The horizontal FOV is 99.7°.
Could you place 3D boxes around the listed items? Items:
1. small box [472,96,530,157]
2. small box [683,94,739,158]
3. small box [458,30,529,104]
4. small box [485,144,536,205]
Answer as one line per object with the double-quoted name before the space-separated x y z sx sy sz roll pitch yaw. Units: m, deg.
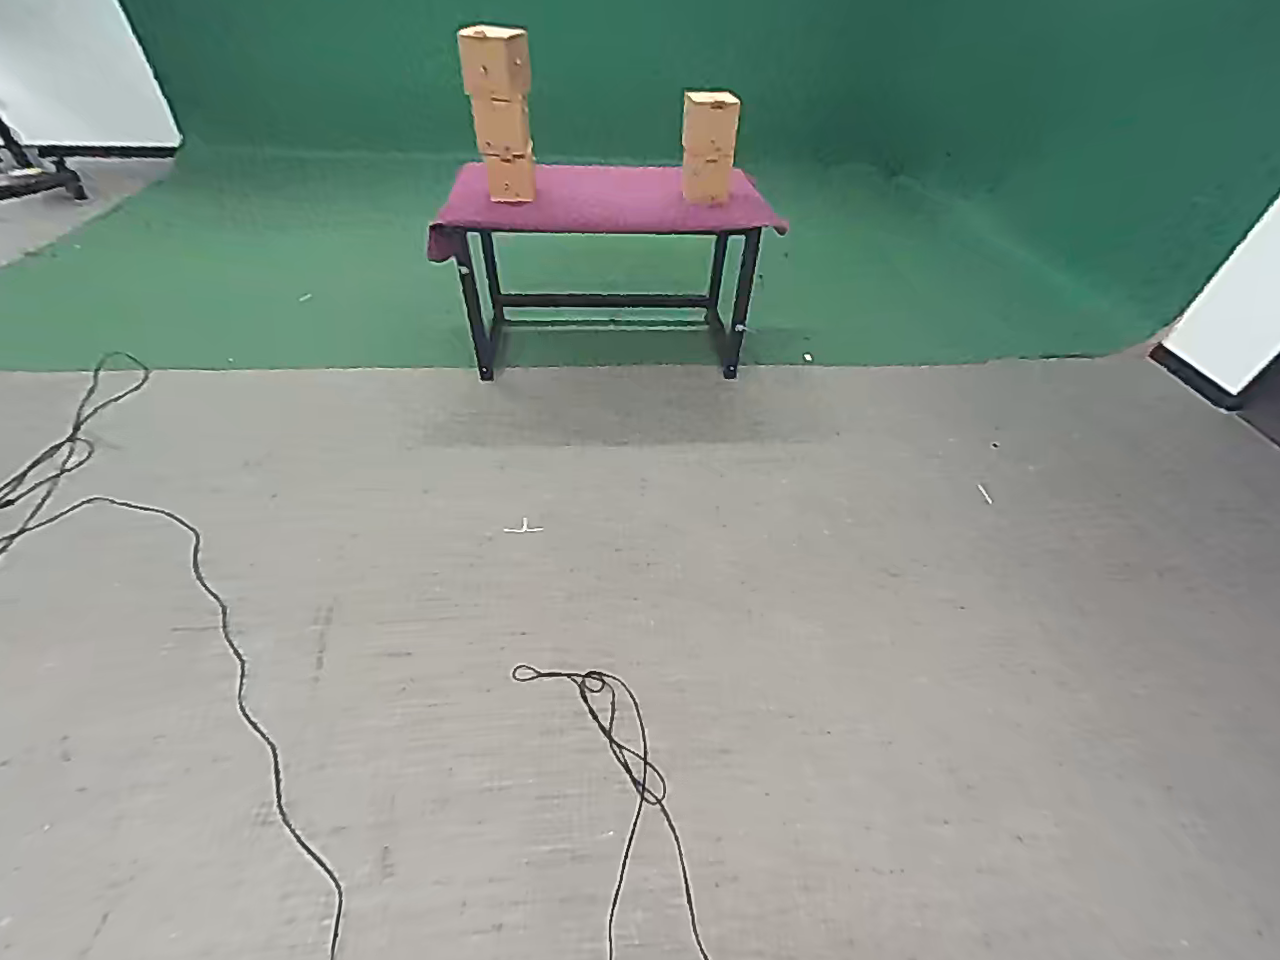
"small box" -0.490 -1.273 1.935 0.168 0.176 0.179 1 45 -3
"small box" 0.256 -1.310 2.001 0.168 0.176 0.179 -4 45 -6
"small box" -0.484 -1.389 1.819 0.168 0.176 0.179 14 48 9
"small box" -0.489 -1.170 2.064 0.168 0.176 0.179 -2 47 -6
